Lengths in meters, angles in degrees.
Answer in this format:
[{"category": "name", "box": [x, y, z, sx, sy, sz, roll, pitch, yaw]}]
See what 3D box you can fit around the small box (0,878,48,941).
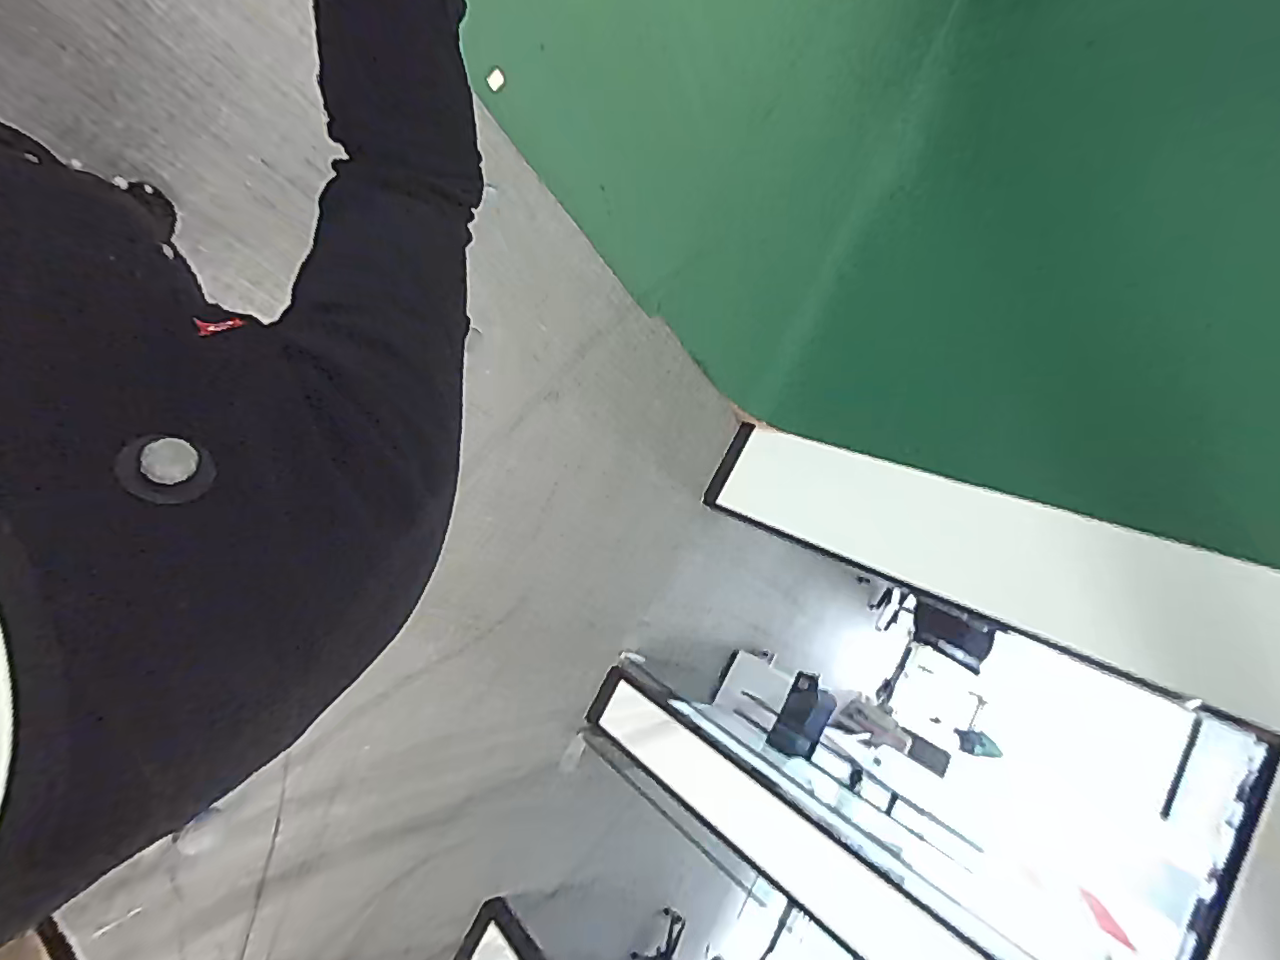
[{"category": "small box", "box": [-1.402, 0.975, 1.127, 0.179, 0.176, 0.168, 38, 78, -50]}]
